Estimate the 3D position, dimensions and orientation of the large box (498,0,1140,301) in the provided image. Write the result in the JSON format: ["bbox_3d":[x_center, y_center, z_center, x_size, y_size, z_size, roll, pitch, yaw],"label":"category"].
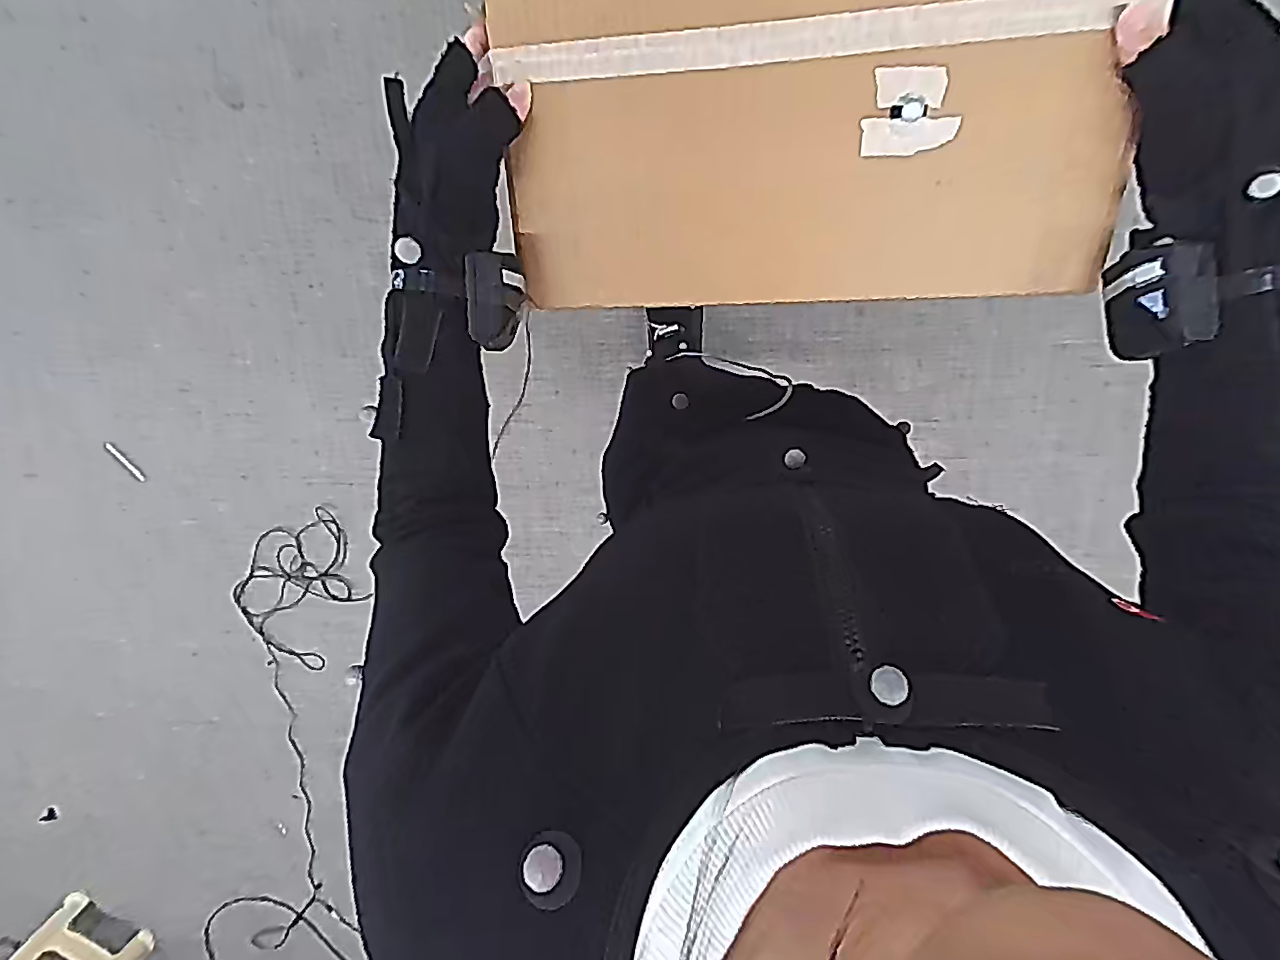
[{"bbox_3d":[0.120,-0.342,0.486,0.408,0.320,0.320,0,113,8],"label":"large box"}]
